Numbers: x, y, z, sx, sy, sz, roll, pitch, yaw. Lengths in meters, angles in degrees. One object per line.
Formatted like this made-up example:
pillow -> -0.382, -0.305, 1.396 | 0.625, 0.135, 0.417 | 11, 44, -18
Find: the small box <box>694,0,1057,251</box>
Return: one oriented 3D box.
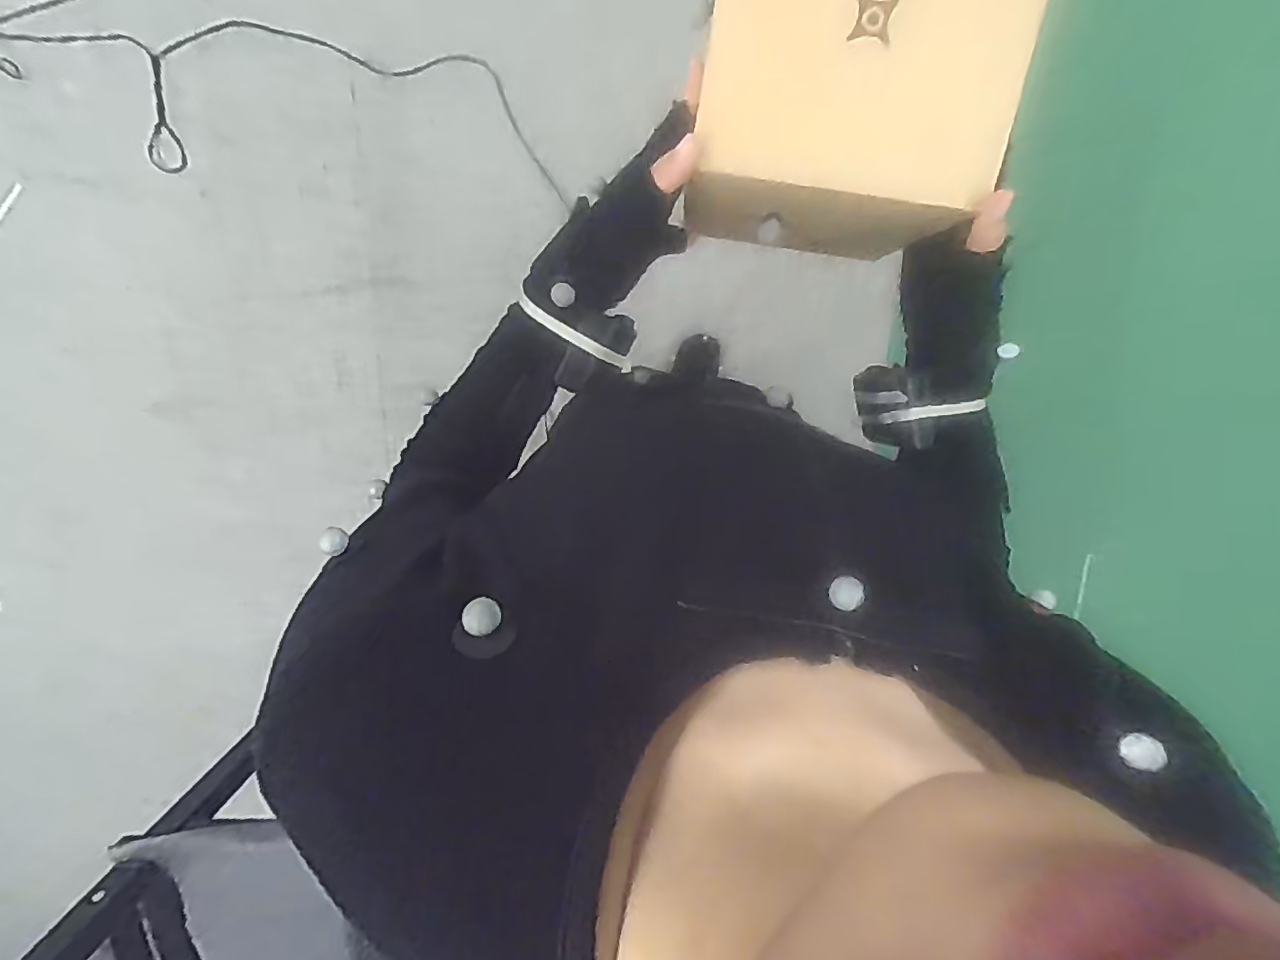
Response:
small box -> 0.130, -0.260, 0.348 | 0.168, 0.176, 0.179 | 9, 103, 2
